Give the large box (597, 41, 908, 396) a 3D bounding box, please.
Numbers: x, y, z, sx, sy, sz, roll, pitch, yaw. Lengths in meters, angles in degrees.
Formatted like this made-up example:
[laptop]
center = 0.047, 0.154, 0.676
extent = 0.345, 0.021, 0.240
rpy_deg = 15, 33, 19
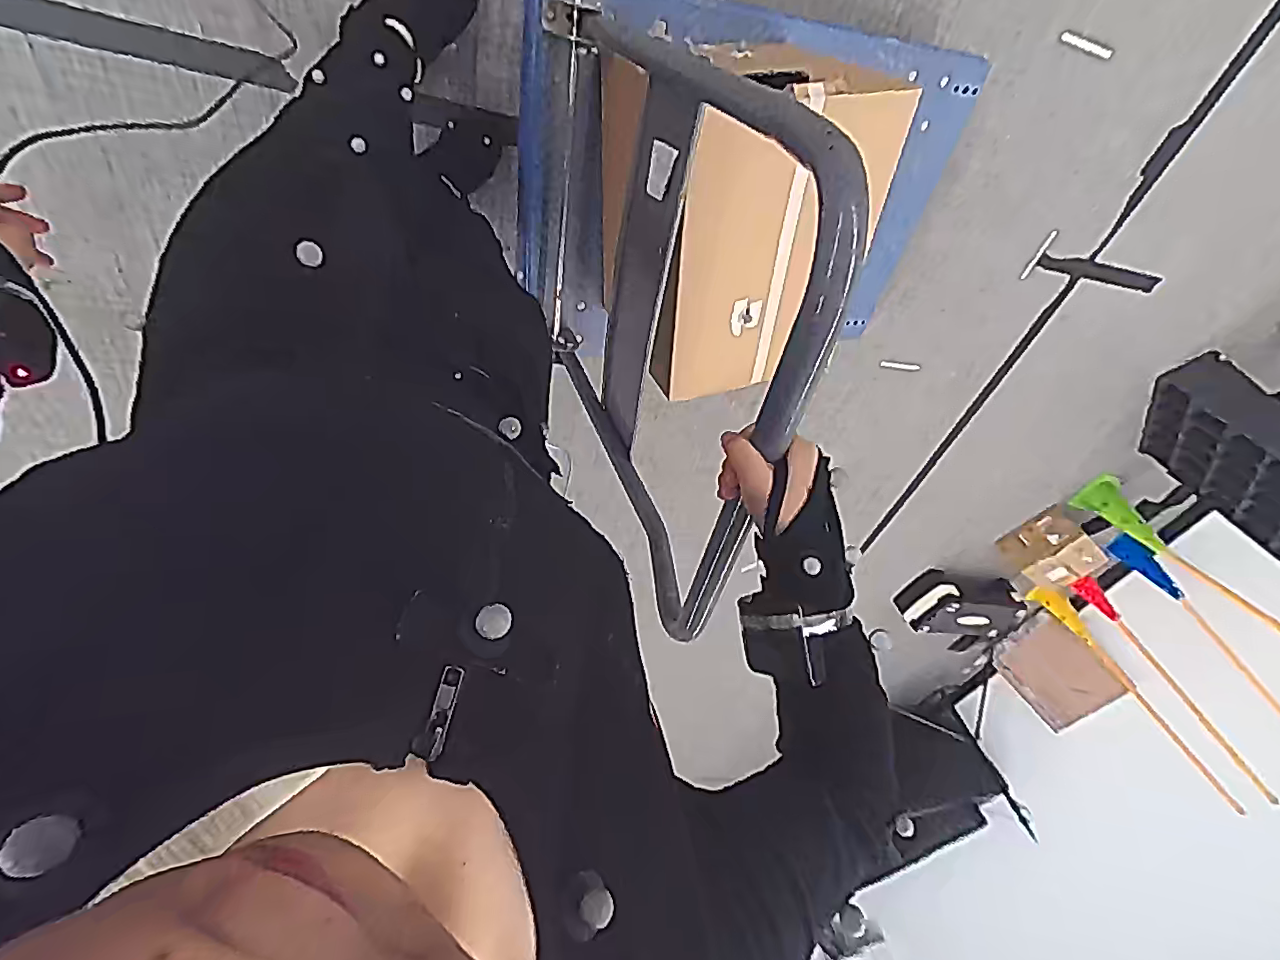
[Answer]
[large box]
center = 0.131, -0.410, 0.856
extent = 0.320, 0.320, 0.408
rpy_deg = -15, 140, -16
